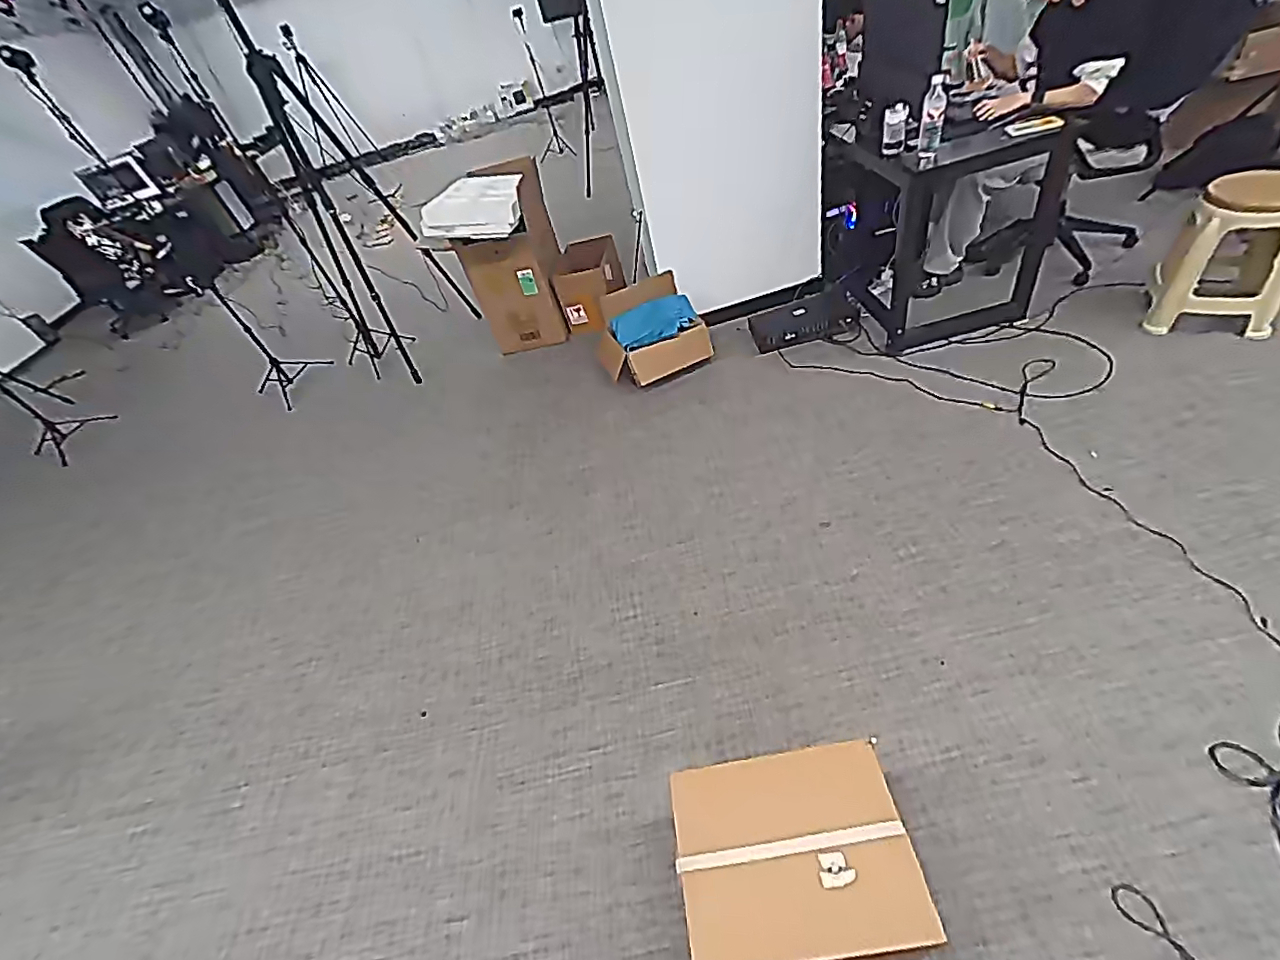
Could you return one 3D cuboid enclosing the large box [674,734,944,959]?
[{"bbox_3d":[0.306,0.756,1.072,0.408,0.320,0.320,-13,44,5],"label":"large box"}]
